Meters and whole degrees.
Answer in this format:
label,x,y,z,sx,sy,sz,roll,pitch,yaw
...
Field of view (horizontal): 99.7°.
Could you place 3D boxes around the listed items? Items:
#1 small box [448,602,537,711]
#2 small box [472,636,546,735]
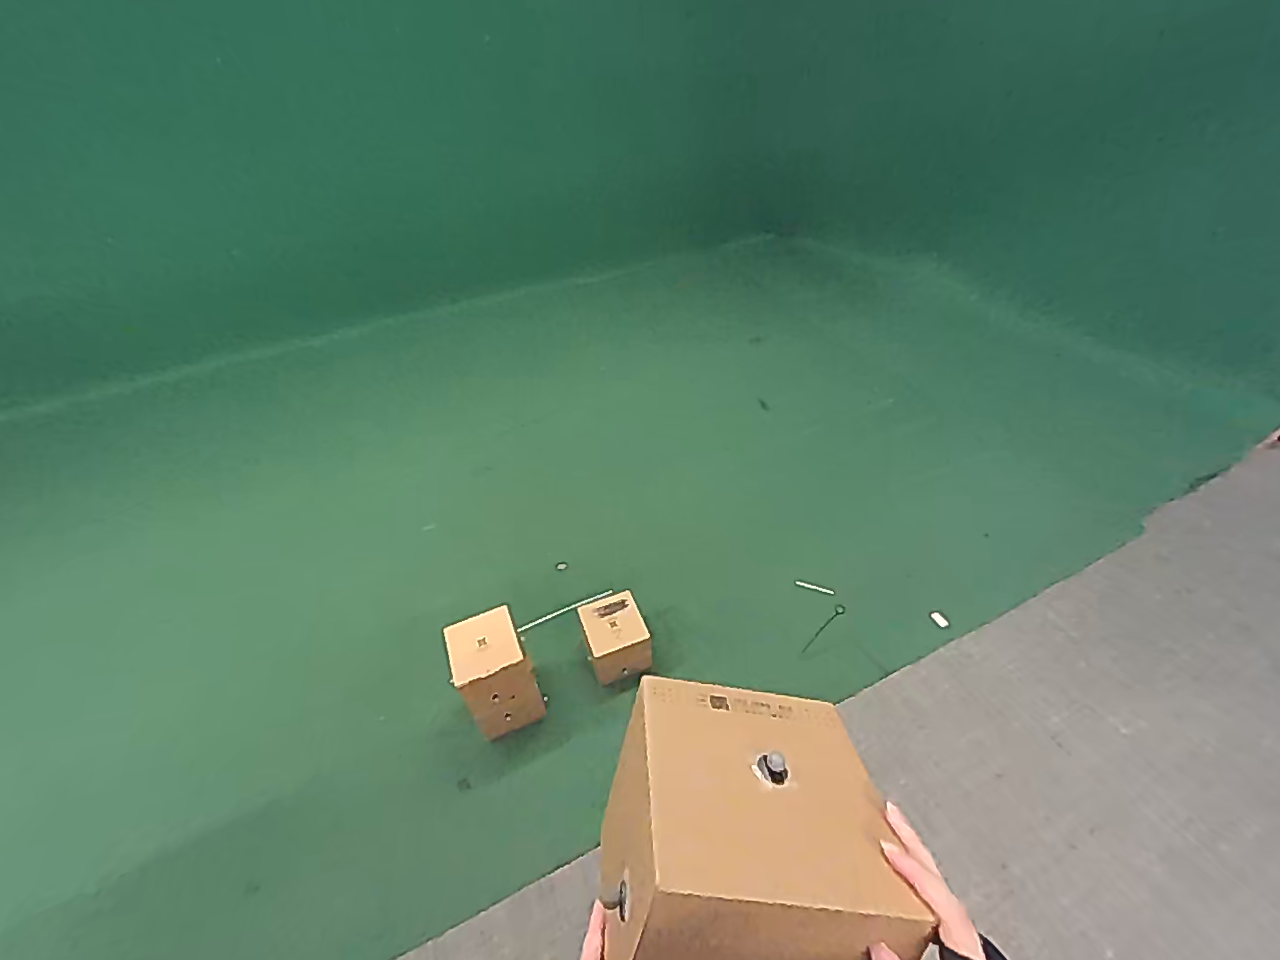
label,x,y,z,sx,sy,sz,roll,pitch,yaw
small box,-0.378,0.454,1.390,0.168,0.176,0.179,-20,46,-15
small box,-0.370,0.571,1.503,0.179,0.176,0.168,-20,45,-15
